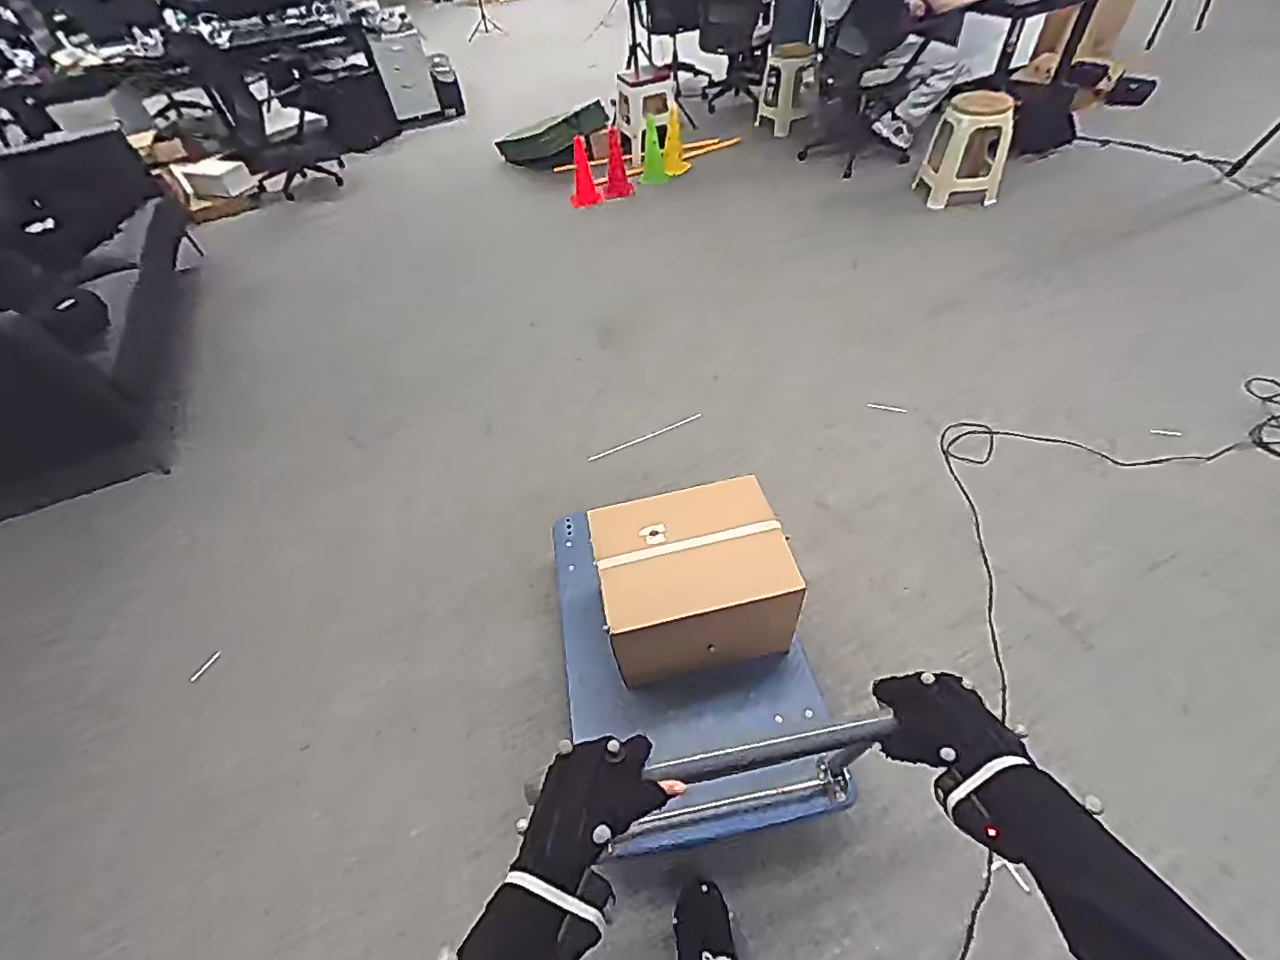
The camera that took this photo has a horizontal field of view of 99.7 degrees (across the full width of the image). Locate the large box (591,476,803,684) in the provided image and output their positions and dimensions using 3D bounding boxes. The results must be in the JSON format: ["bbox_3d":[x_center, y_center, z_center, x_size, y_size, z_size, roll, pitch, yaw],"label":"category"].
[{"bbox_3d":[0.127,0.243,1.287,0.408,0.320,0.320,-14,49,-2],"label":"large box"}]
